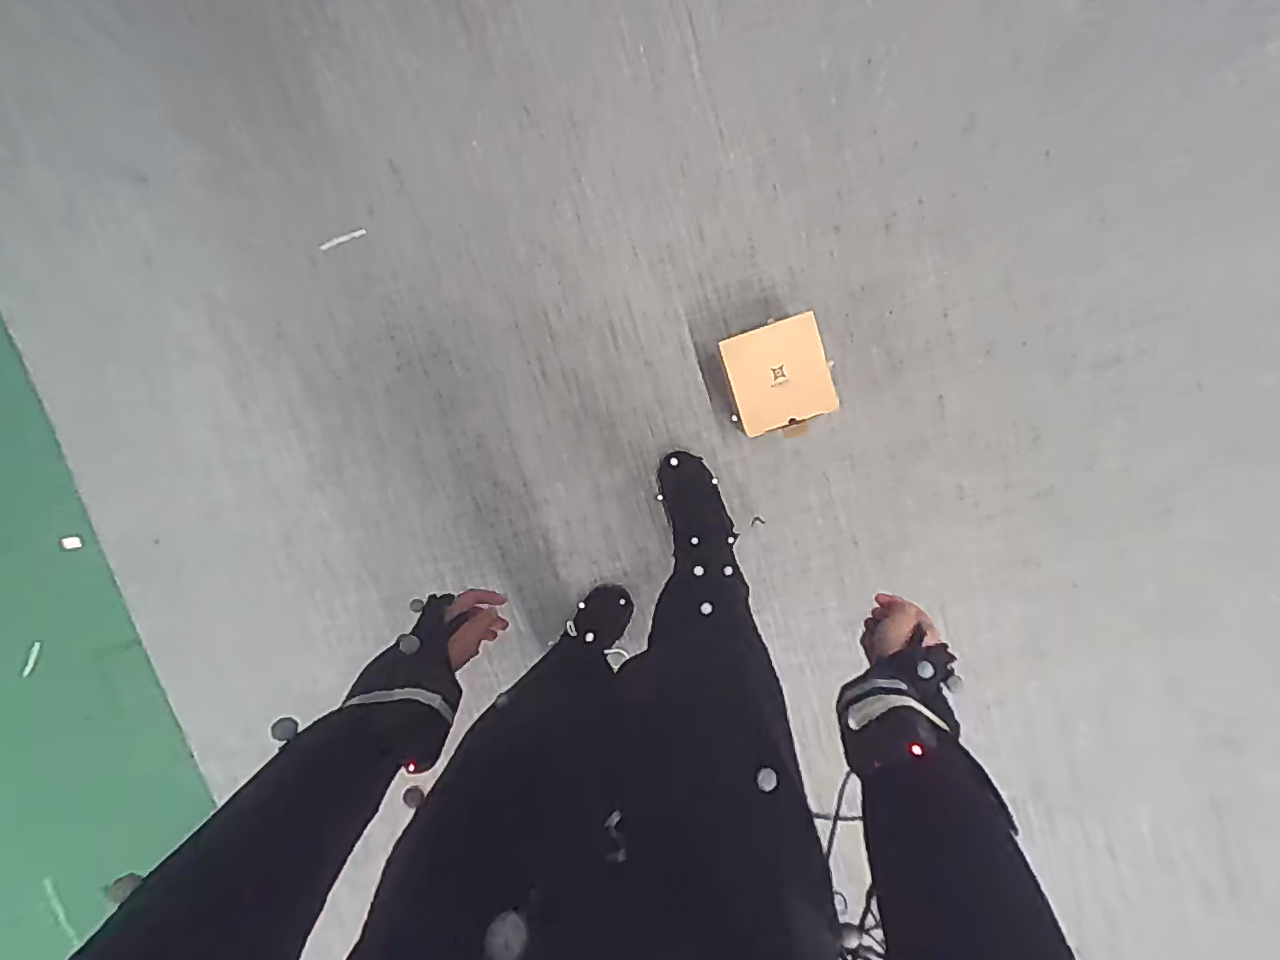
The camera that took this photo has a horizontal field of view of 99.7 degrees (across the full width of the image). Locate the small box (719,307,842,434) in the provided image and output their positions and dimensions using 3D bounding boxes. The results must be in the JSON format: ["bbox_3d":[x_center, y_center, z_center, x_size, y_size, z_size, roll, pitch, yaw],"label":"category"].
[{"bbox_3d":[0.246,-0.195,0.991,0.168,0.176,0.179,-18,98,9],"label":"small box"}]
